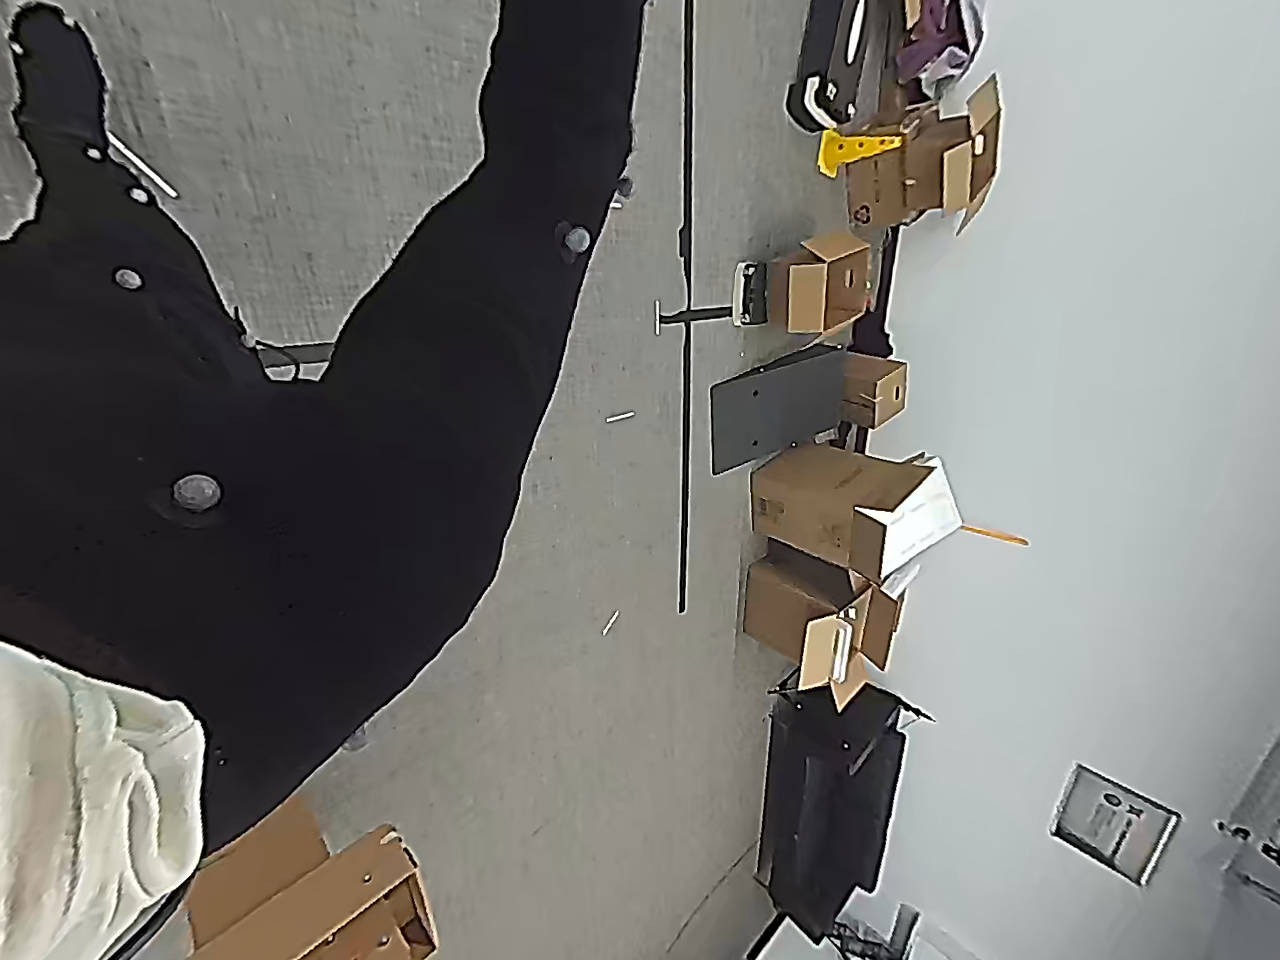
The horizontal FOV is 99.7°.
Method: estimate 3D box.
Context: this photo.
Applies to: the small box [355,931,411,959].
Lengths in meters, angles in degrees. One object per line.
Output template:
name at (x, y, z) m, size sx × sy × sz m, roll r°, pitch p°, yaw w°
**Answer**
small box at (-0.639, 1.280, 1.337) m, size 0.168 × 0.176 × 0.179 m, roll -26°, pitch 125°, yaw -38°
